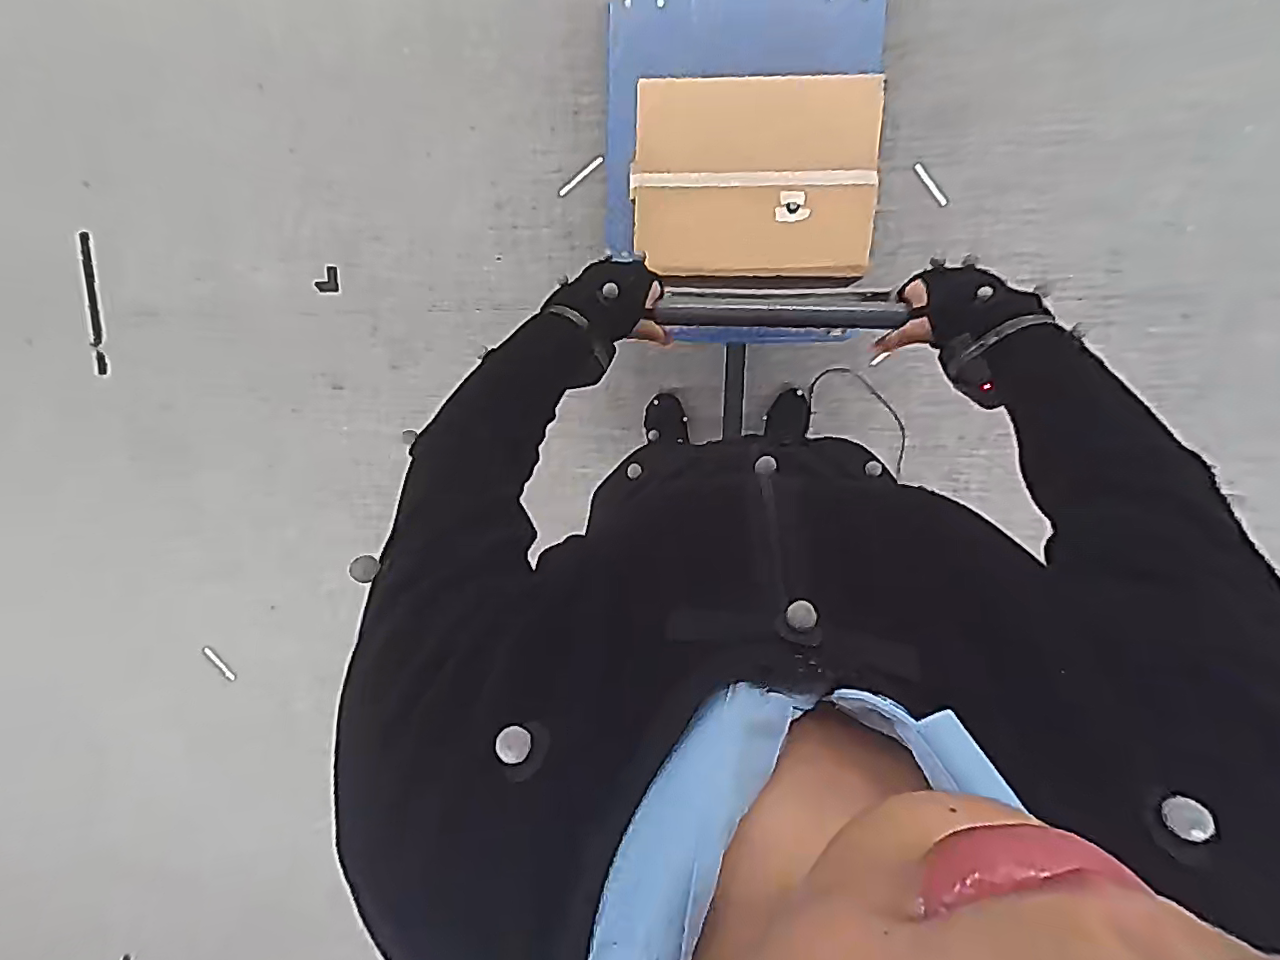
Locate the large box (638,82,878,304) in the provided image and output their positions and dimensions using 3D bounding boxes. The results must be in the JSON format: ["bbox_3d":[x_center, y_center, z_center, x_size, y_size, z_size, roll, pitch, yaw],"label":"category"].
[{"bbox_3d":[0.205,-0.535,1.077,0.408,0.320,0.320,1,101,4],"label":"large box"}]
